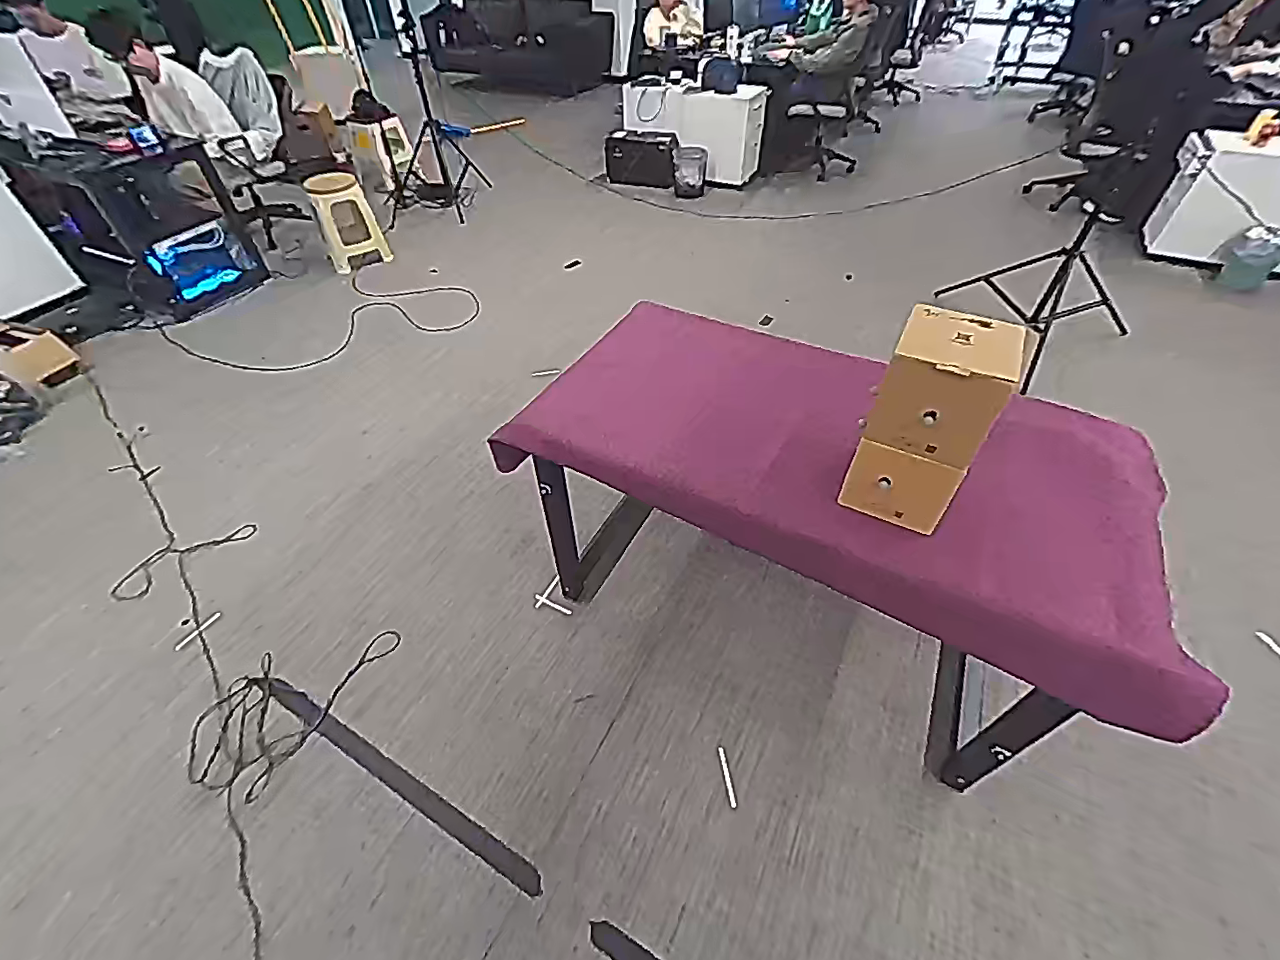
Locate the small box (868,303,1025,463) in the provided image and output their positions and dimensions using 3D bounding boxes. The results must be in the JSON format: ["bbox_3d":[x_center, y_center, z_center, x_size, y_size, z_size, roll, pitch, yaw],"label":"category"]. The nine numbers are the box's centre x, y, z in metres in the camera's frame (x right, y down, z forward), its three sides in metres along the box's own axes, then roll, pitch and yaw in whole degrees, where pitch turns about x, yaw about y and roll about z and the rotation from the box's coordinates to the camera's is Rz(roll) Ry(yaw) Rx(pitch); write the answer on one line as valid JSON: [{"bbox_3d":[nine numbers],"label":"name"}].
[{"bbox_3d":[0.485,-0.155,0.872,0.168,0.176,0.179,22,50,21],"label":"small box"}]

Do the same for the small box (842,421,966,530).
[{"bbox_3d":[0.485,-0.038,0.987,0.168,0.176,0.179,21,49,20],"label":"small box"}]
